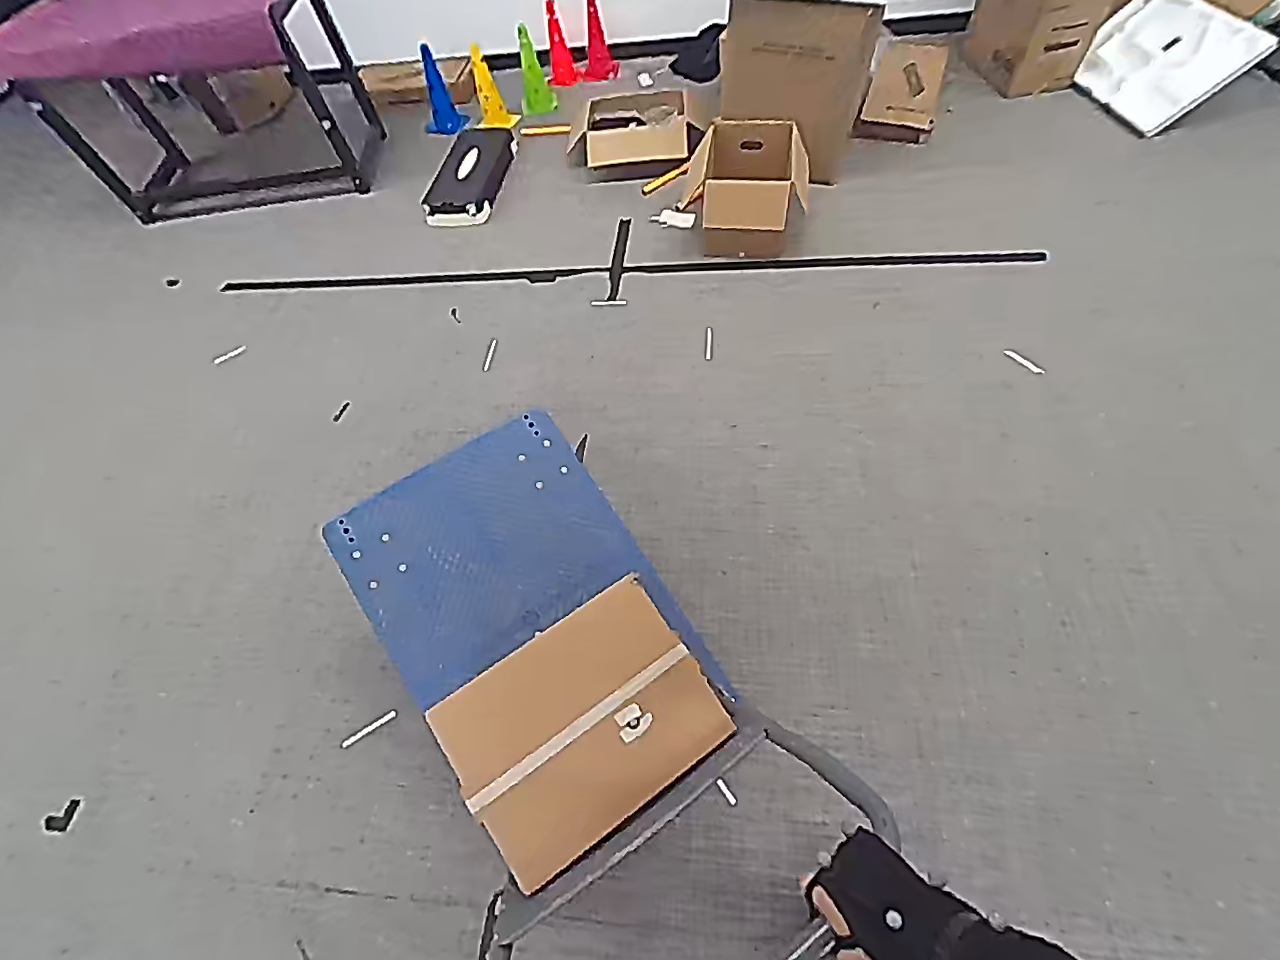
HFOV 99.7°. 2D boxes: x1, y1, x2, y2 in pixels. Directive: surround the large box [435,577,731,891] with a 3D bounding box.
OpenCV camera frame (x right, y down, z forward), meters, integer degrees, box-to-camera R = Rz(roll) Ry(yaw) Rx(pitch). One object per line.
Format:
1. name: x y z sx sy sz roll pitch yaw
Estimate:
1. large box: -0.104 0.444 1.033 0.408 0.320 0.320 -33 80 -15
